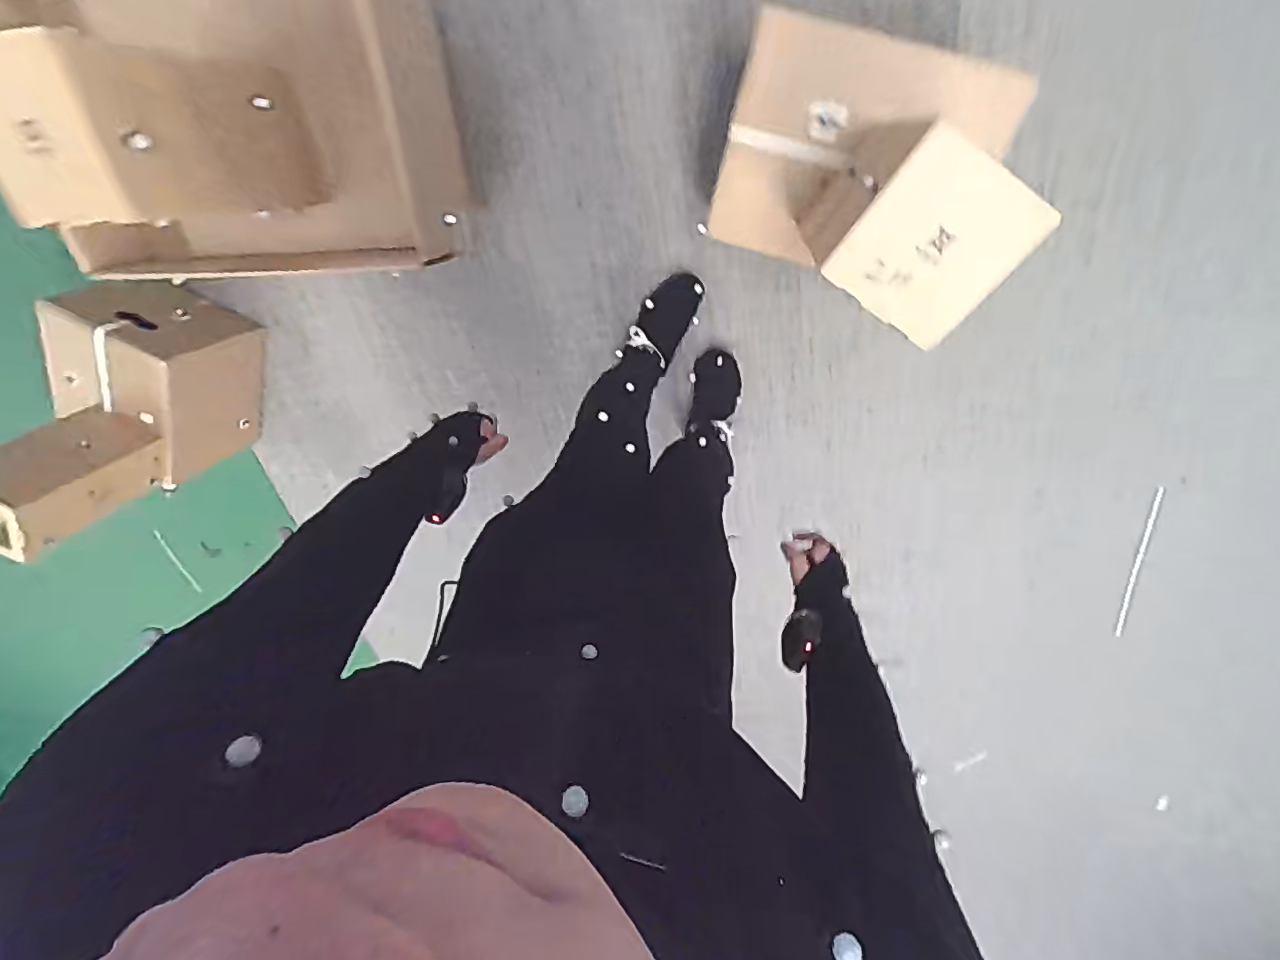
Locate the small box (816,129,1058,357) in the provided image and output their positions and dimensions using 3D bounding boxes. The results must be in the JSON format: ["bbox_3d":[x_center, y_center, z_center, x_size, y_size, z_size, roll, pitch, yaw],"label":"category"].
[{"bbox_3d":[0.333,-0.287,0.652,0.168,0.176,0.179,33,123,-9],"label":"small box"}]

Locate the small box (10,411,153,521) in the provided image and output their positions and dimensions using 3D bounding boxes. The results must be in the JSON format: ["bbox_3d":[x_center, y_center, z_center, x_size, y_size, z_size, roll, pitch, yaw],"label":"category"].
[{"bbox_3d":[-1.325,-0.040,1.298,0.179,0.176,0.168,30,120,-7],"label":"small box"}]

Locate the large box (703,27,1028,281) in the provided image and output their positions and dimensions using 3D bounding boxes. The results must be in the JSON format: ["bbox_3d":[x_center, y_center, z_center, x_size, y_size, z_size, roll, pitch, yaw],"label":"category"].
[{"bbox_3d":[0.358,-0.550,0.977,0.408,0.320,0.320,17,121,2],"label":"large box"}]

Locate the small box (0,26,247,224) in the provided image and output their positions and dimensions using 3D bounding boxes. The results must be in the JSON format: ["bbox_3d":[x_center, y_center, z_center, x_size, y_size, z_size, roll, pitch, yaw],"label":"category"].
[{"bbox_3d":[-0.631,-0.410,0.647,0.168,0.176,0.179,4,121,10],"label":"small box"}]

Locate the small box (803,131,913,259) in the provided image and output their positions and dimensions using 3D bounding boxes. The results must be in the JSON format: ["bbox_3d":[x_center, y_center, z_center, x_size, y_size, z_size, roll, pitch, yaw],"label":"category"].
[{"bbox_3d":[0.357,-0.373,0.792,0.168,0.176,0.179,33,121,-9],"label":"small box"}]
